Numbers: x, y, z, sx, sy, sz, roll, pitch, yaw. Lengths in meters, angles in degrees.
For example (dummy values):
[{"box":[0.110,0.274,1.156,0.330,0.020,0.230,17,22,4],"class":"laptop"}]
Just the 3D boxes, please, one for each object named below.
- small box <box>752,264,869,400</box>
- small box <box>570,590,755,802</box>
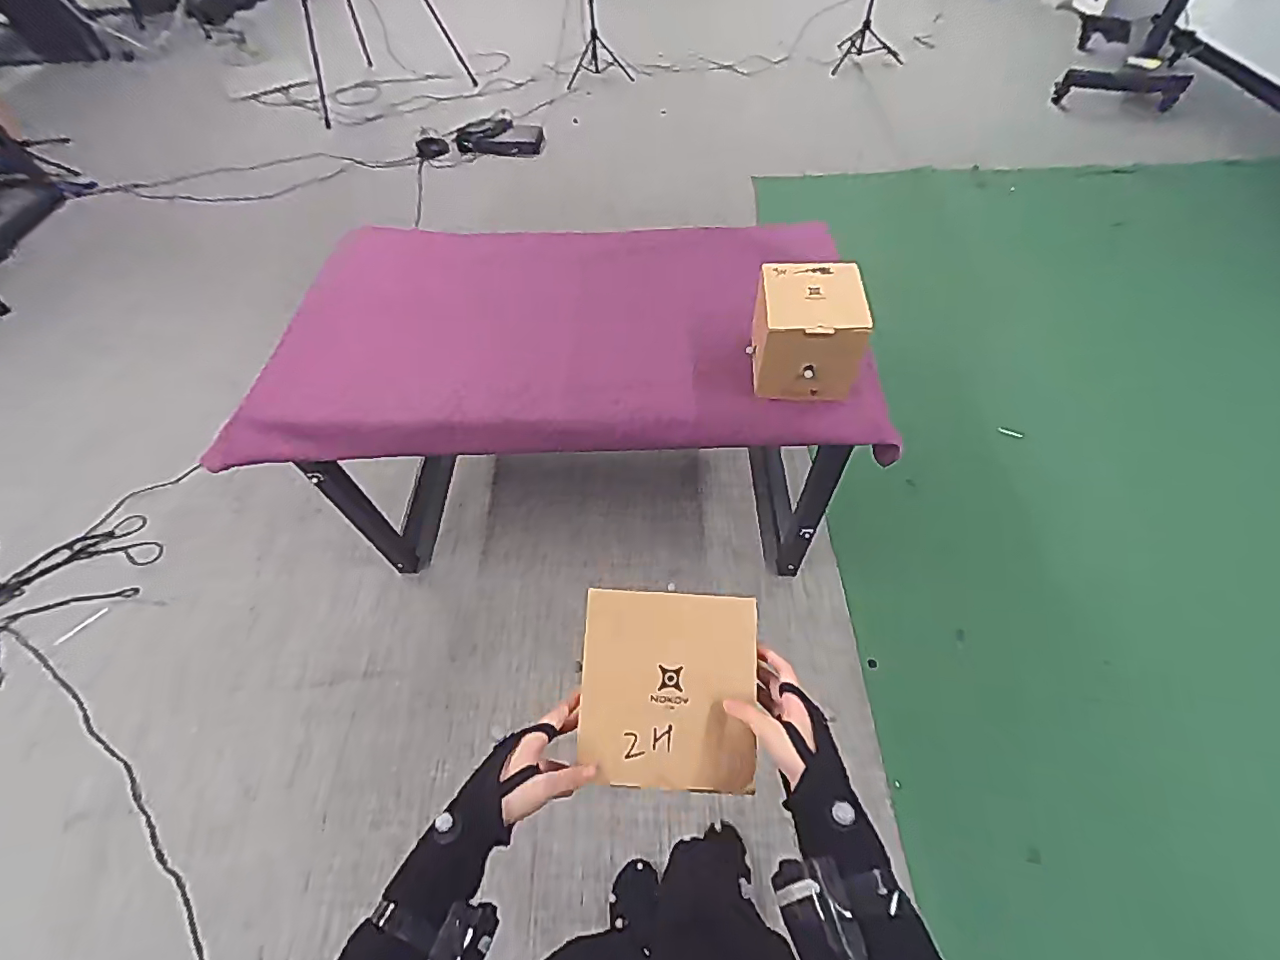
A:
[{"box":[0.293,-0.259,0.966,0.168,0.176,0.179,2,57,5],"class":"small box"},{"box":[0.023,0.217,0.577,0.168,0.176,0.179,4,75,1],"class":"small box"}]
